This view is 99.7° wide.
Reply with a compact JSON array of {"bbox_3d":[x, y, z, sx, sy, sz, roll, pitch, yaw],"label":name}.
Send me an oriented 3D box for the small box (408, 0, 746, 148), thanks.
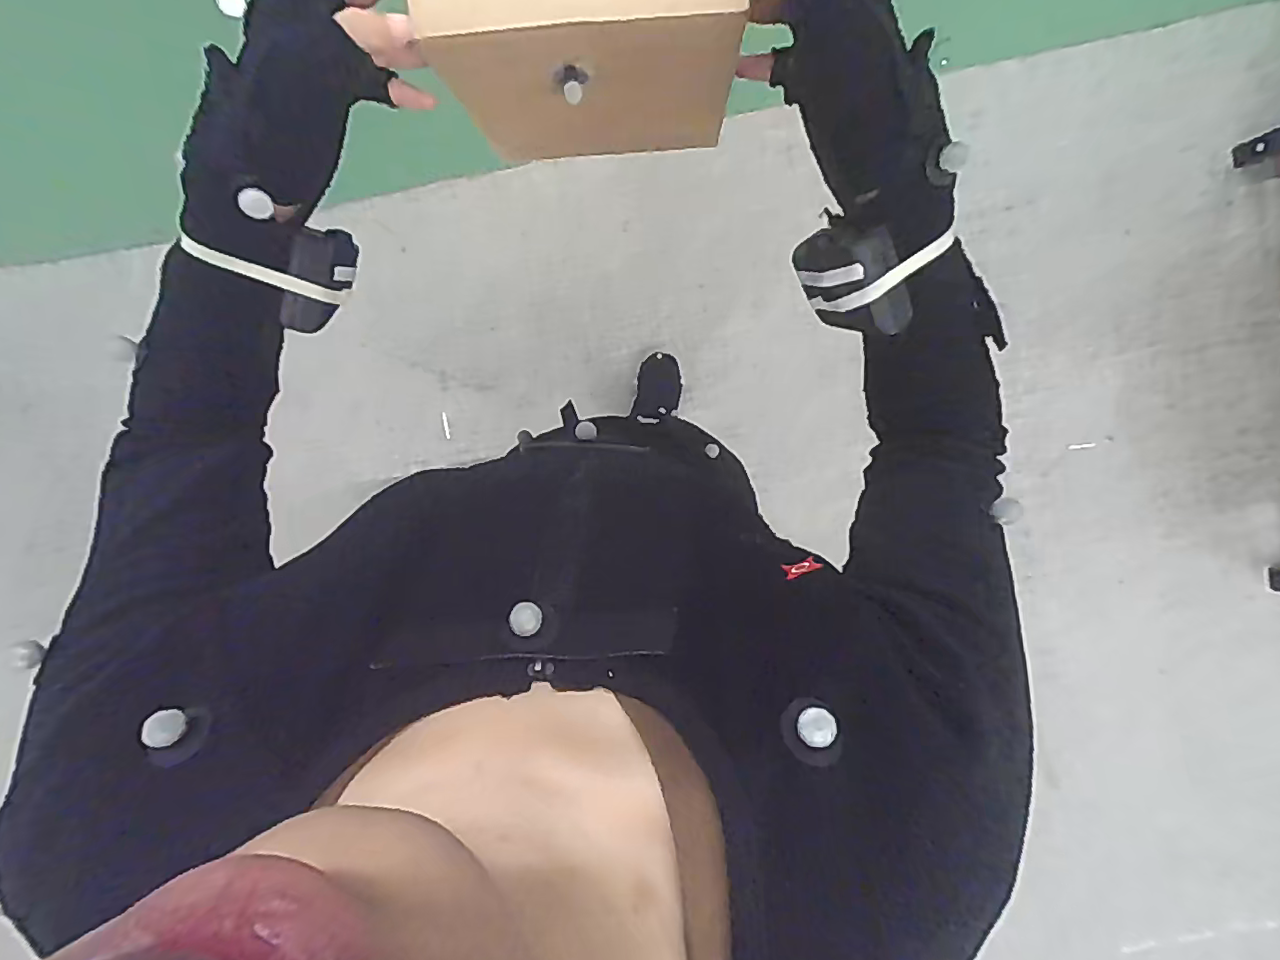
[{"bbox_3d":[-0.031,-0.329,0.338,0.179,0.176,0.168,-2,102,2],"label":"small box"}]
